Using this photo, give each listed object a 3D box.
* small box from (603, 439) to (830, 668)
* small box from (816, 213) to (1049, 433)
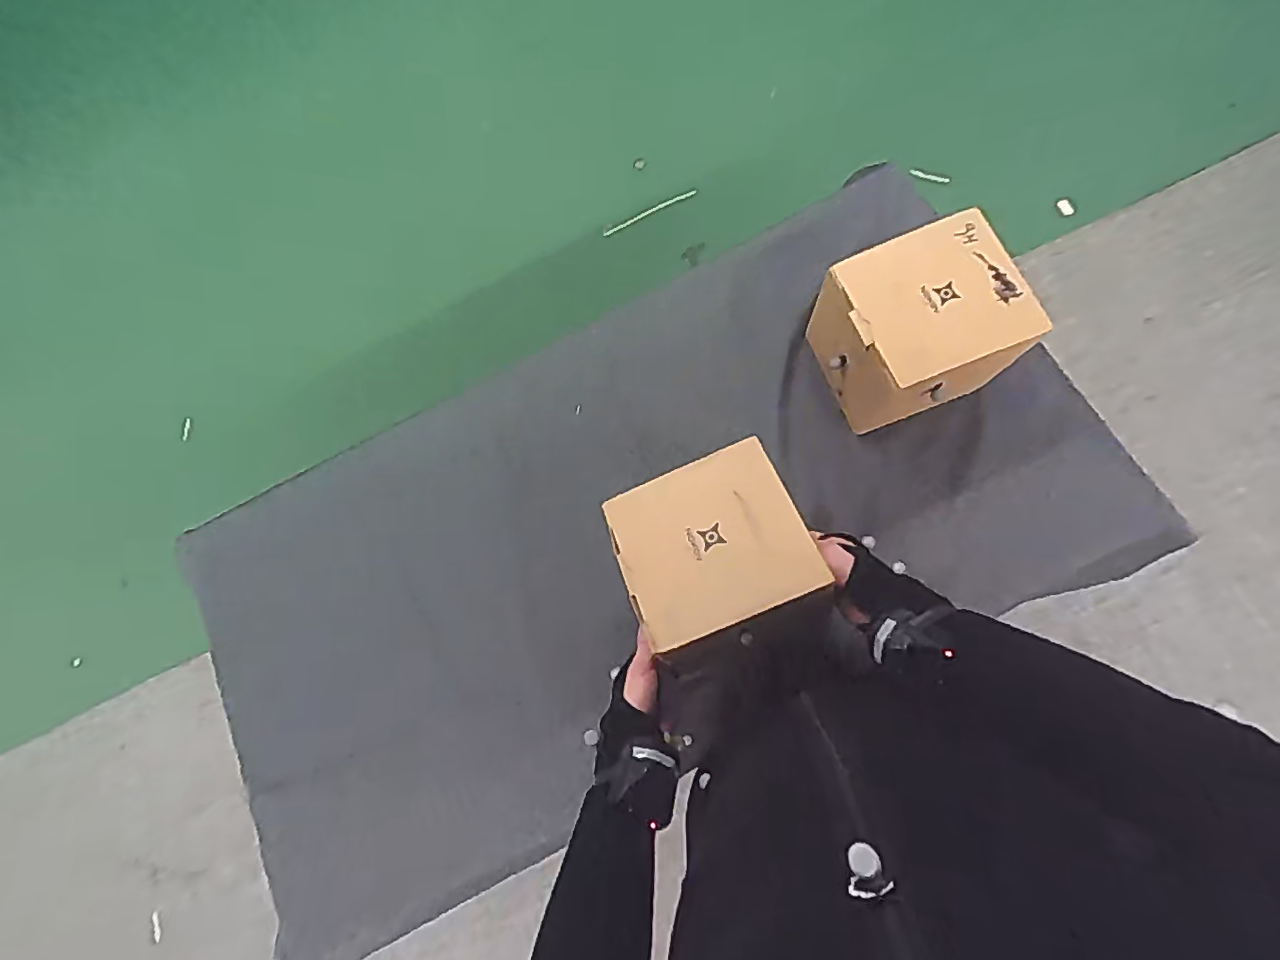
[{"bbox_3d":[0.084,0.090,0.587,0.179,0.176,0.168,-24,62,3],"label":"small box"},{"bbox_3d":[0.331,-0.176,0.662,0.179,0.176,0.168,-22,76,3],"label":"small box"}]
